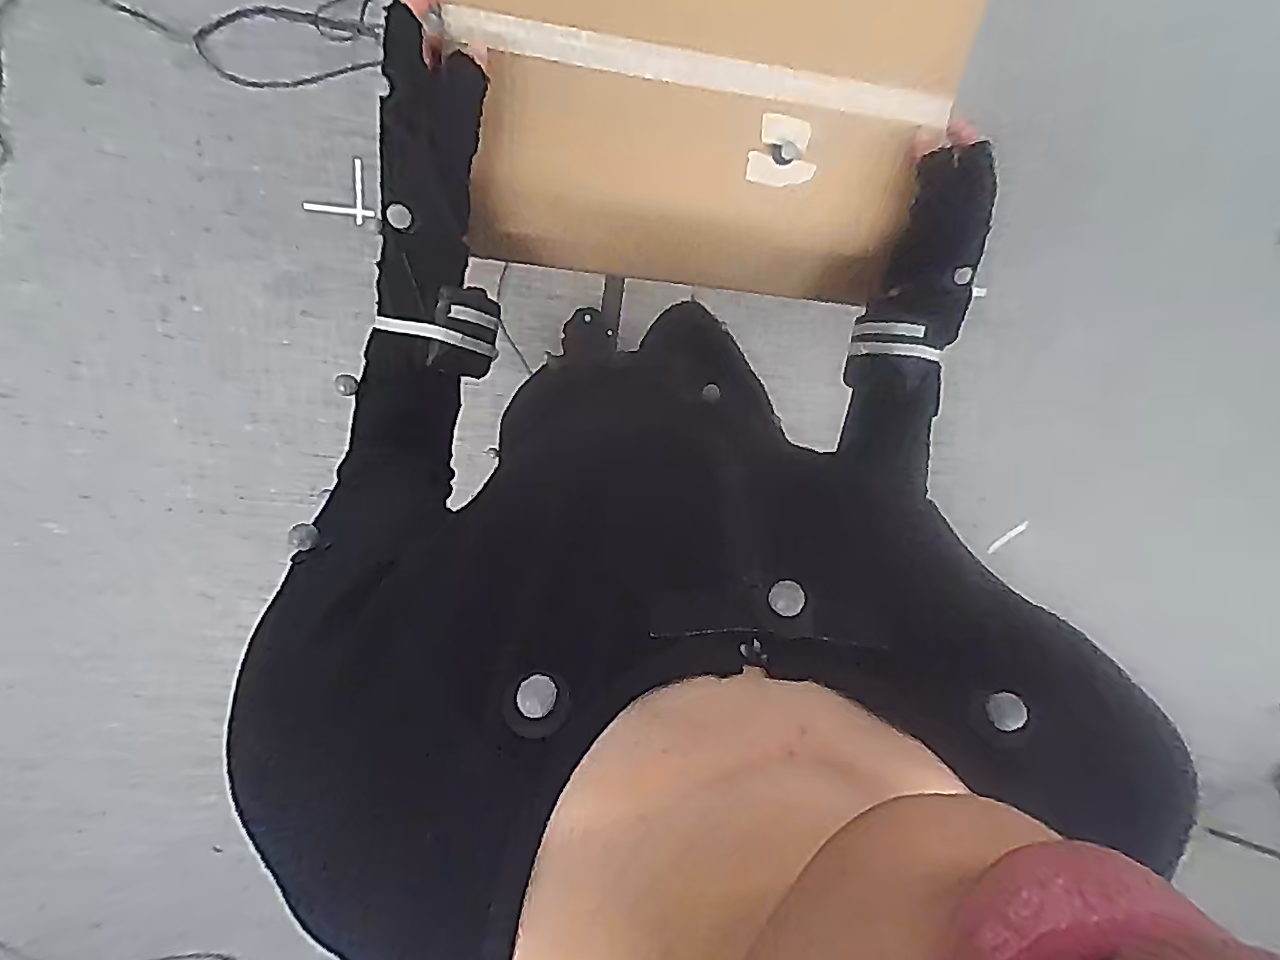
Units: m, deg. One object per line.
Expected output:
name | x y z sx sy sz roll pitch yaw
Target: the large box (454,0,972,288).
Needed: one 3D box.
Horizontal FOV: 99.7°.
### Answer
large box | 0.040 -0.397 0.557 0.408 0.320 0.320 3 118 -9
